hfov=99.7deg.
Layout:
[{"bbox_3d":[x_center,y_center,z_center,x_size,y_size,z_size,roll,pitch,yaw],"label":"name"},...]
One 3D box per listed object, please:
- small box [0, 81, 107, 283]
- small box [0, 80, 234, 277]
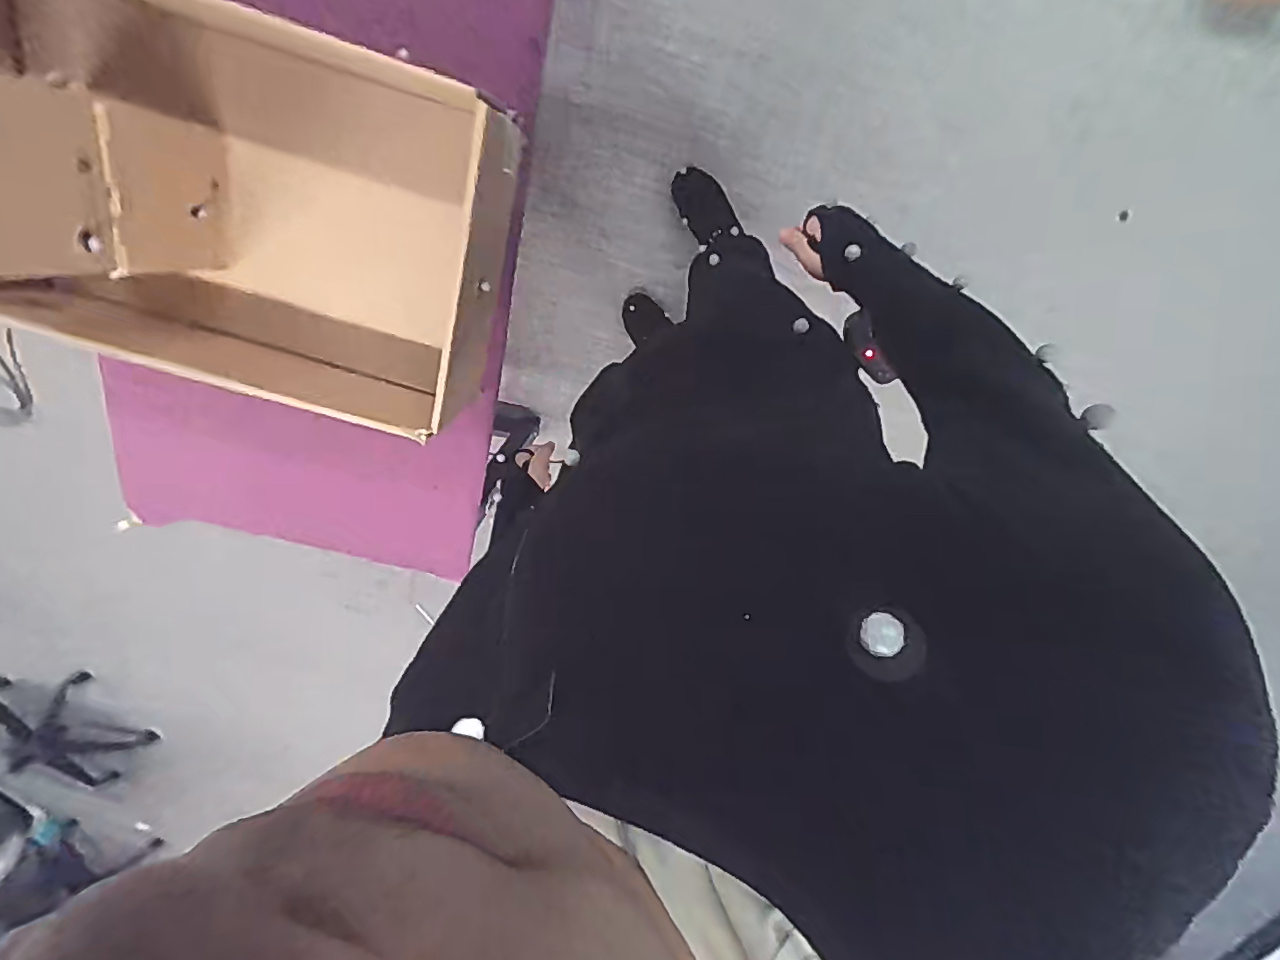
[{"bbox_3d":[-0.640,-0.283,0.487,0.179,0.176,0.168,12,113,-3],"label":"small box"},{"bbox_3d":[-0.628,-0.346,0.638,0.179,0.176,0.168,12,113,-5],"label":"small box"}]
